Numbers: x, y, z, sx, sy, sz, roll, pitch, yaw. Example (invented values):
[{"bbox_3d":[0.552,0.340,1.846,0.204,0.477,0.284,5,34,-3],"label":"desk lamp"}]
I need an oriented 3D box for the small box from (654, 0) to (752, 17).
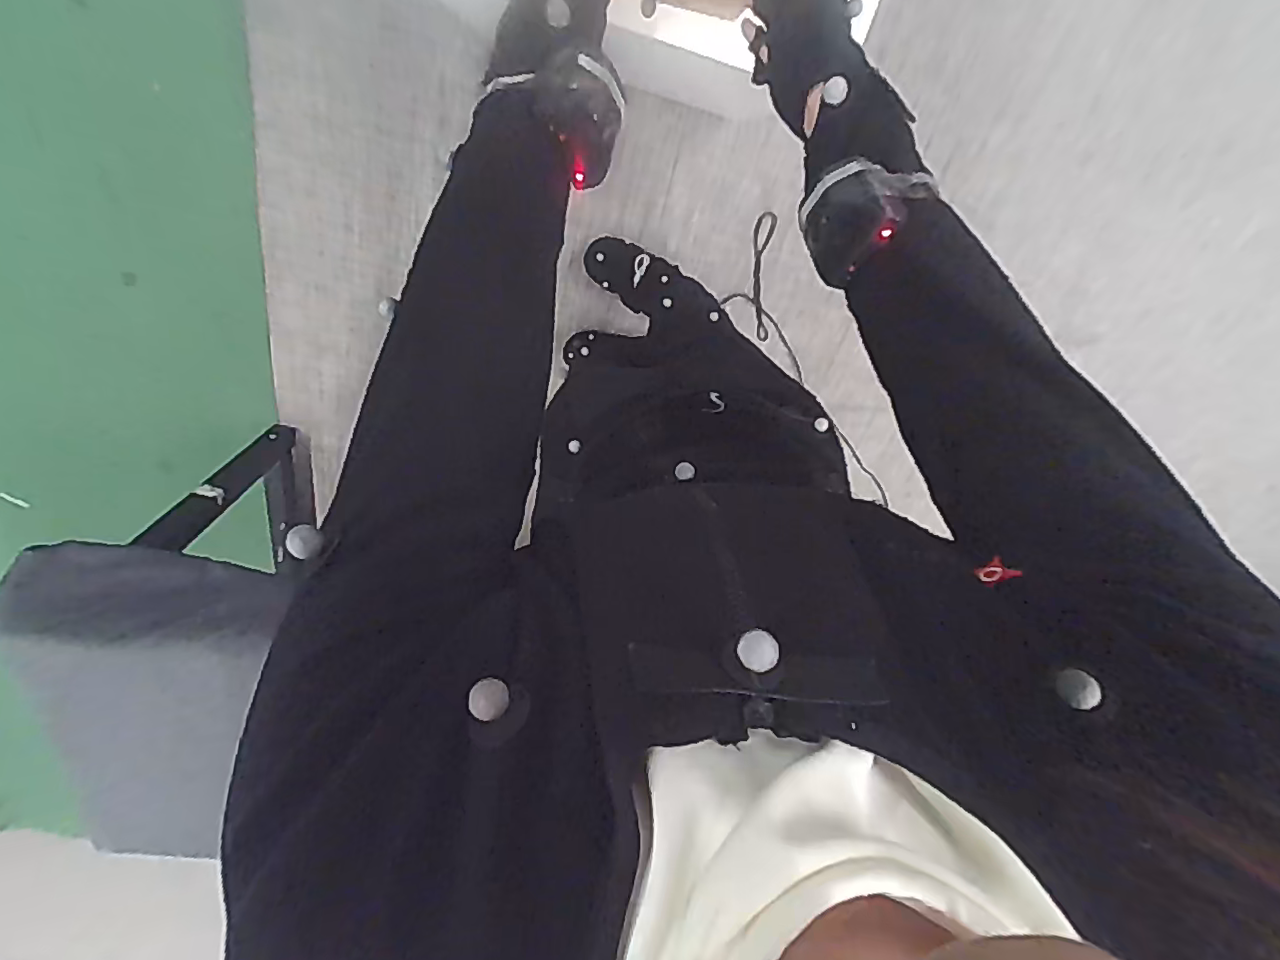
[{"bbox_3d":[0.038,-0.514,0.433,0.168,0.176,0.179,8,122,-5],"label":"small box"}]
